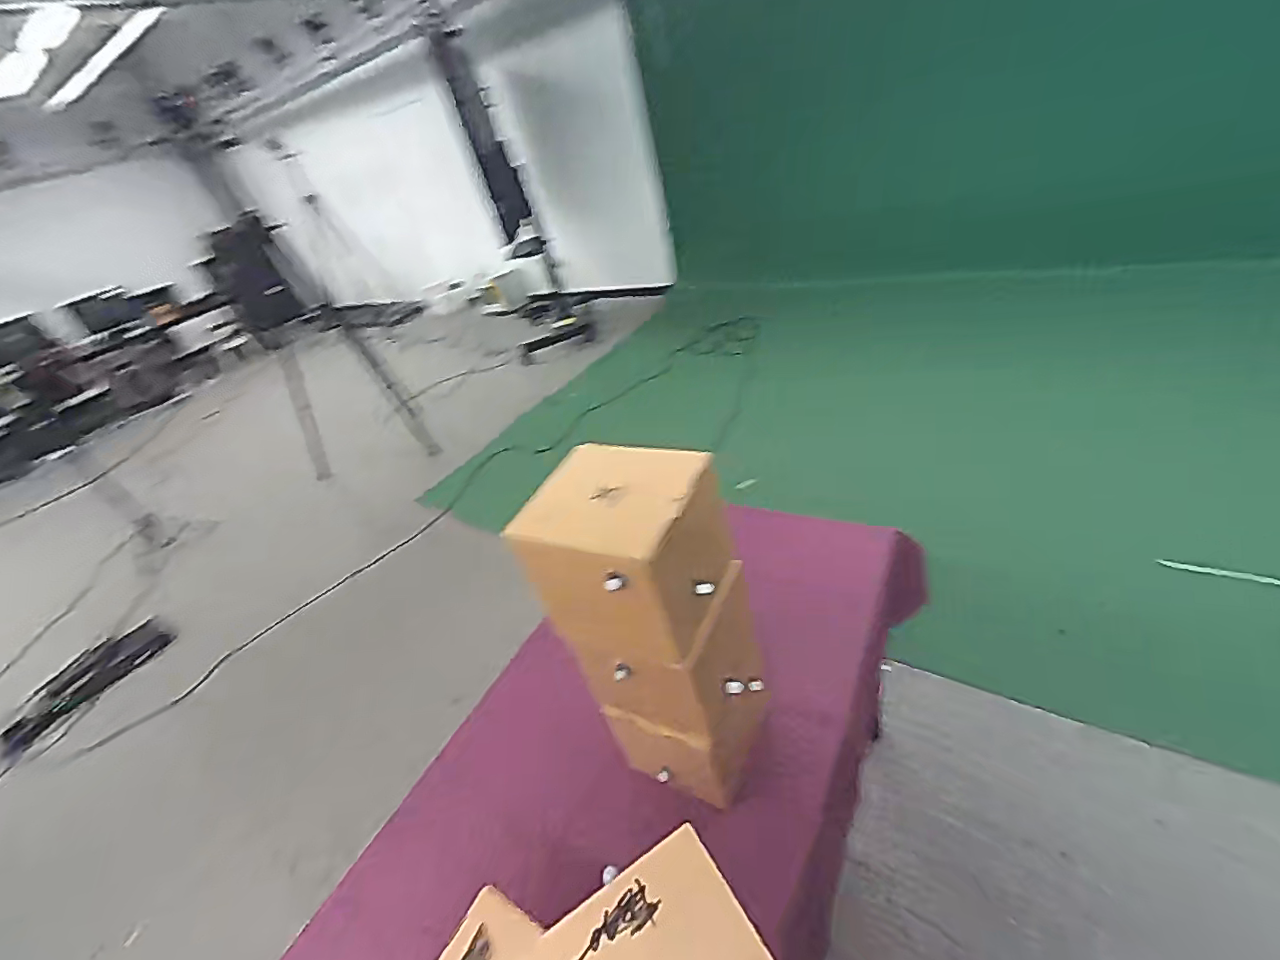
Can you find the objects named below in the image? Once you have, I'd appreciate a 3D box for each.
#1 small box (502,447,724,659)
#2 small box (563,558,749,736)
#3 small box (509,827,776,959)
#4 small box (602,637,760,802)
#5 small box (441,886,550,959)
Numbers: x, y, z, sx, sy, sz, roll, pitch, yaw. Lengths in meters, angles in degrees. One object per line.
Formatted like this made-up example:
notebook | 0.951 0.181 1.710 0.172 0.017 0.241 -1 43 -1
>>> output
small box | -0.019 0.080 0.623 0.179 0.176 0.168 5 42 28
small box | 0.029 0.205 0.714 0.179 0.176 0.168 7 43 30
small box | 0.027 0.383 0.358 0.168 0.176 0.179 -27 44 -16
small box | 0.073 0.332 0.807 0.168 0.176 0.179 7 42 32
small box | -0.120 0.577 0.557 0.179 0.176 0.168 9 43 32
